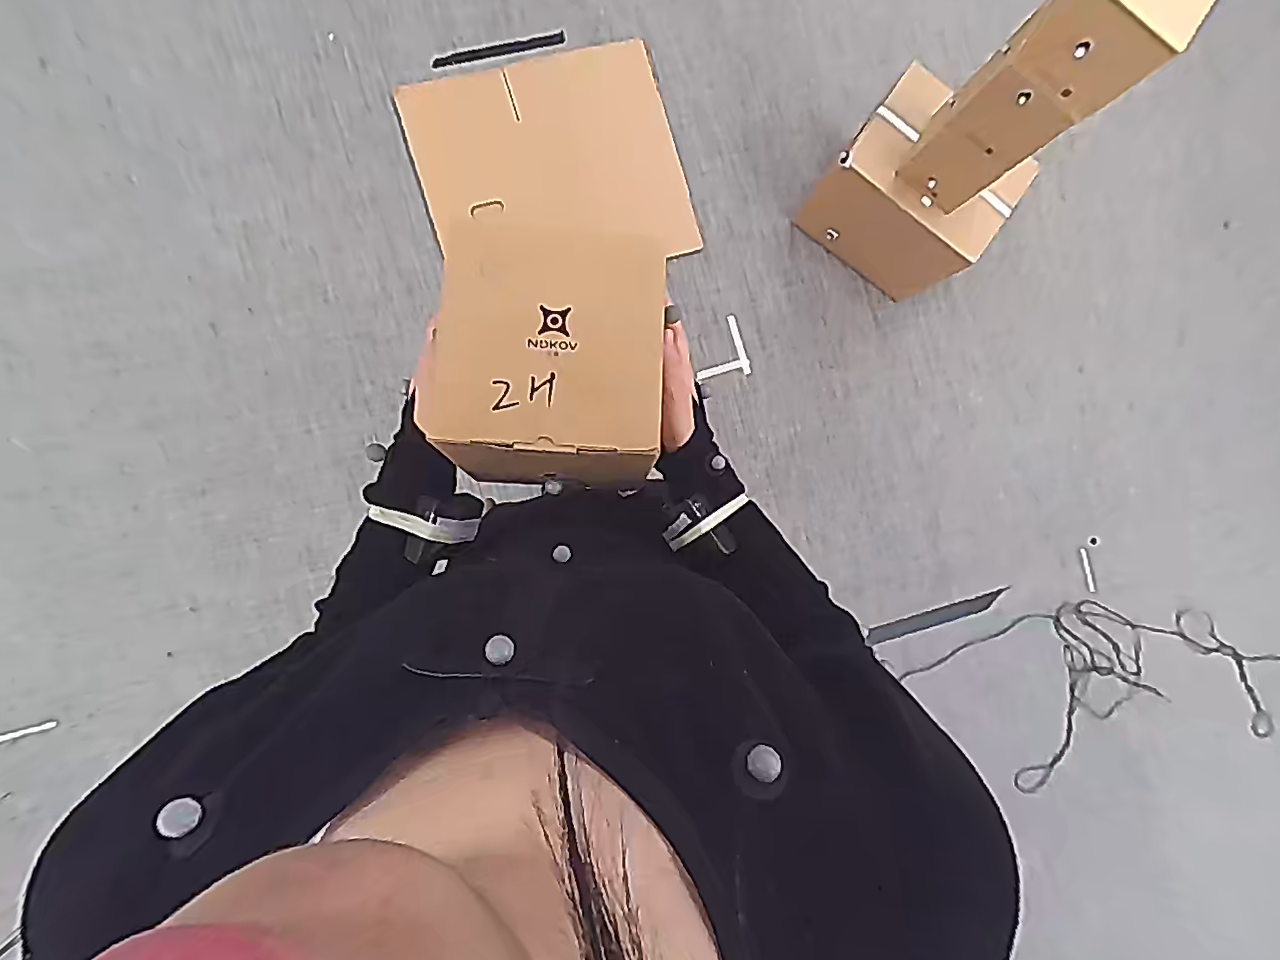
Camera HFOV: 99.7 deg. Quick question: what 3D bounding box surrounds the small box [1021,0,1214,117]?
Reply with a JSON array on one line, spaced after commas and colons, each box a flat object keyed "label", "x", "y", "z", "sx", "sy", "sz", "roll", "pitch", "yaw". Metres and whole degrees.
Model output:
[{"label": "small box", "x": 0.766, "y": -0.744, "z": 0.871, "sx": 0.168, "sy": 0.176, "sz": 0.179, "roll": 34, "pitch": 86, "yaw": -5}]

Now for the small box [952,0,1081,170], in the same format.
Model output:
[{"label": "small box", "x": 0.745, "y": -0.748, "z": 1.032, "sx": 0.168, "sy": 0.176, "sz": 0.179, "roll": 34, "pitch": 86, "yaw": -5}]

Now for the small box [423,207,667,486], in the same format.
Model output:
[{"label": "small box", "x": -0.071, "y": -0.099, "z": 0.470, "sx": 0.168, "sy": 0.176, "sz": 0.179, "roll": 3, "pitch": 80, "yaw": -4}]

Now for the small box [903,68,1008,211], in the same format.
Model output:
[{"label": "small box", "x": 0.724, "y": -0.745, "z": 1.195, "sx": 0.168, "sy": 0.176, "sz": 0.179, "roll": 34, "pitch": 87, "yaw": -6}]
